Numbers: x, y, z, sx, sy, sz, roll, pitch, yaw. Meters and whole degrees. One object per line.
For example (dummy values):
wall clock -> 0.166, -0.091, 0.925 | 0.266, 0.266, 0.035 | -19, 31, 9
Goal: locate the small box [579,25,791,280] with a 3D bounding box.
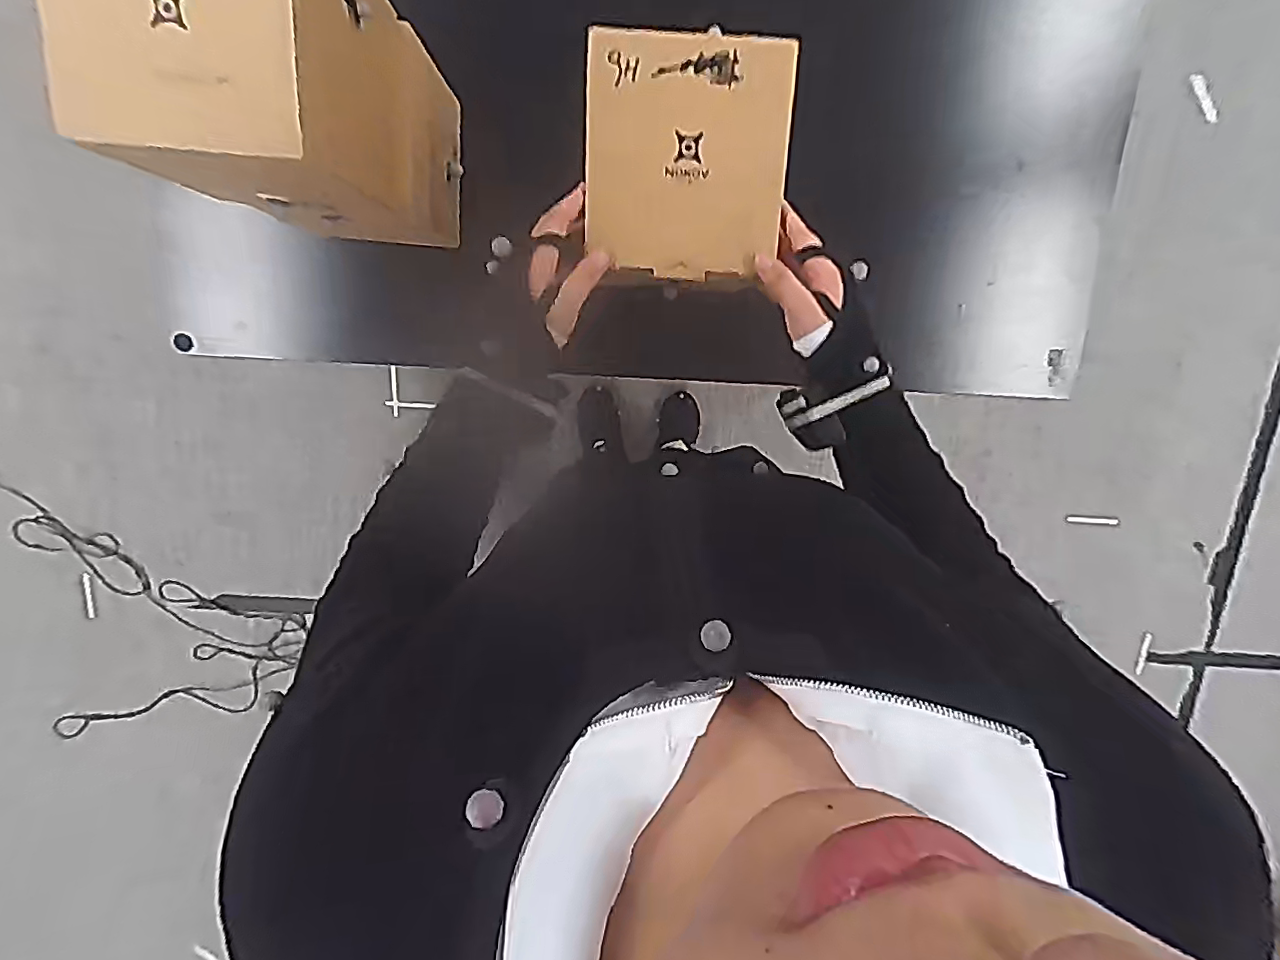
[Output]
small box -> 0.034, -0.291, 0.522 | 0.168, 0.176, 0.179 | 2, 107, -1

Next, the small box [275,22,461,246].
small box -> -0.307, -0.362, 0.587 | 0.179, 0.176, 0.168 | 4, 102, -4

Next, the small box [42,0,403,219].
small box -> -0.304, -0.327, 0.429 | 0.168, 0.176, 0.179 | 3, 103, -1
